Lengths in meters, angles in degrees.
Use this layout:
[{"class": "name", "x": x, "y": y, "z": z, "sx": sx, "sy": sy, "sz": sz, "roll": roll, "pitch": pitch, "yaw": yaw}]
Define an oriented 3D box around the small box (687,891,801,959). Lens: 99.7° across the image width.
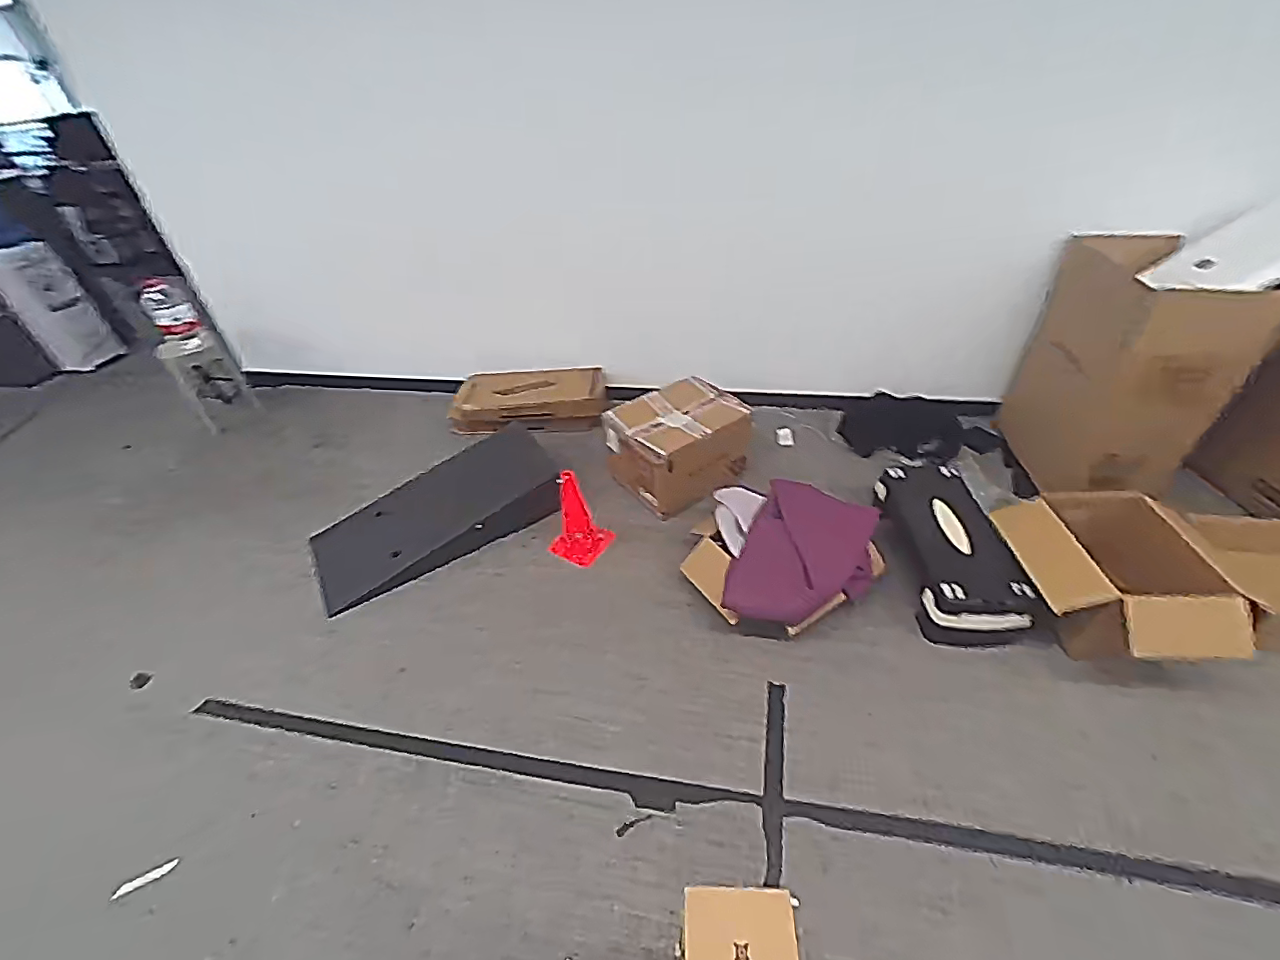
[{"class": "small box", "x": 0.154, "y": 0.759, "z": 0.821, "sx": 0.168, "sy": 0.176, "sz": 0.179, "roll": -2, "pitch": 40, "yaw": 6}]
